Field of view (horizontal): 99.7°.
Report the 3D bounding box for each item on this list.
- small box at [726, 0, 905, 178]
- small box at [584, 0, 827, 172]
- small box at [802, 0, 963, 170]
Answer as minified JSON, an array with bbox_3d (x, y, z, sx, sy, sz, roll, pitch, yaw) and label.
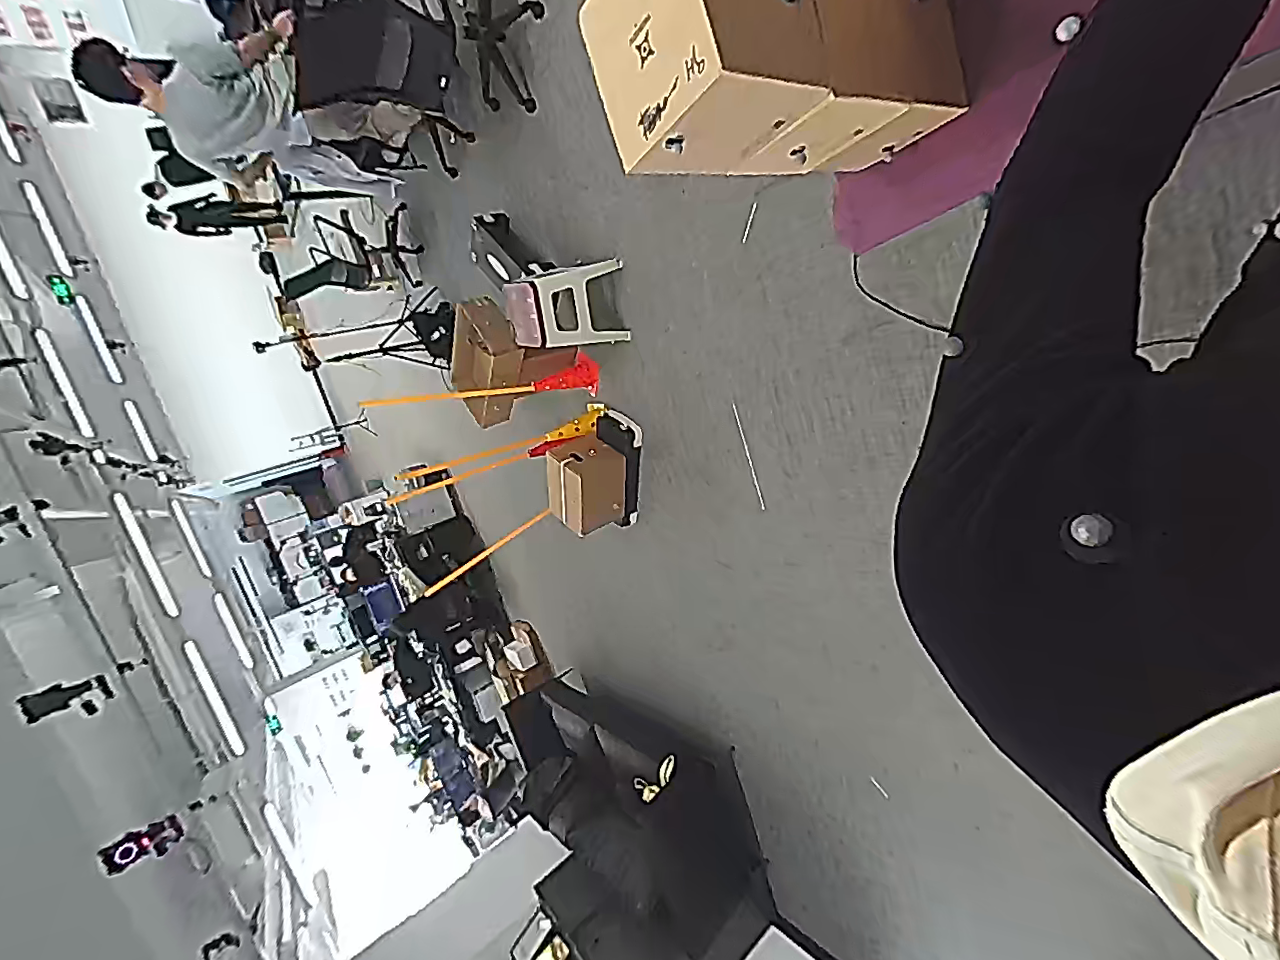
[{"bbox_3d":[0.200,-0.504,0.669,0.168,0.176,0.179,-4,104,56],"label":"small box"},{"bbox_3d":[0.070,-0.457,0.580,0.168,0.176,0.179,-8,101,57],"label":"small box"},{"bbox_3d":[0.321,-0.562,0.760,0.168,0.176,0.179,-5,105,56],"label":"small box"}]
